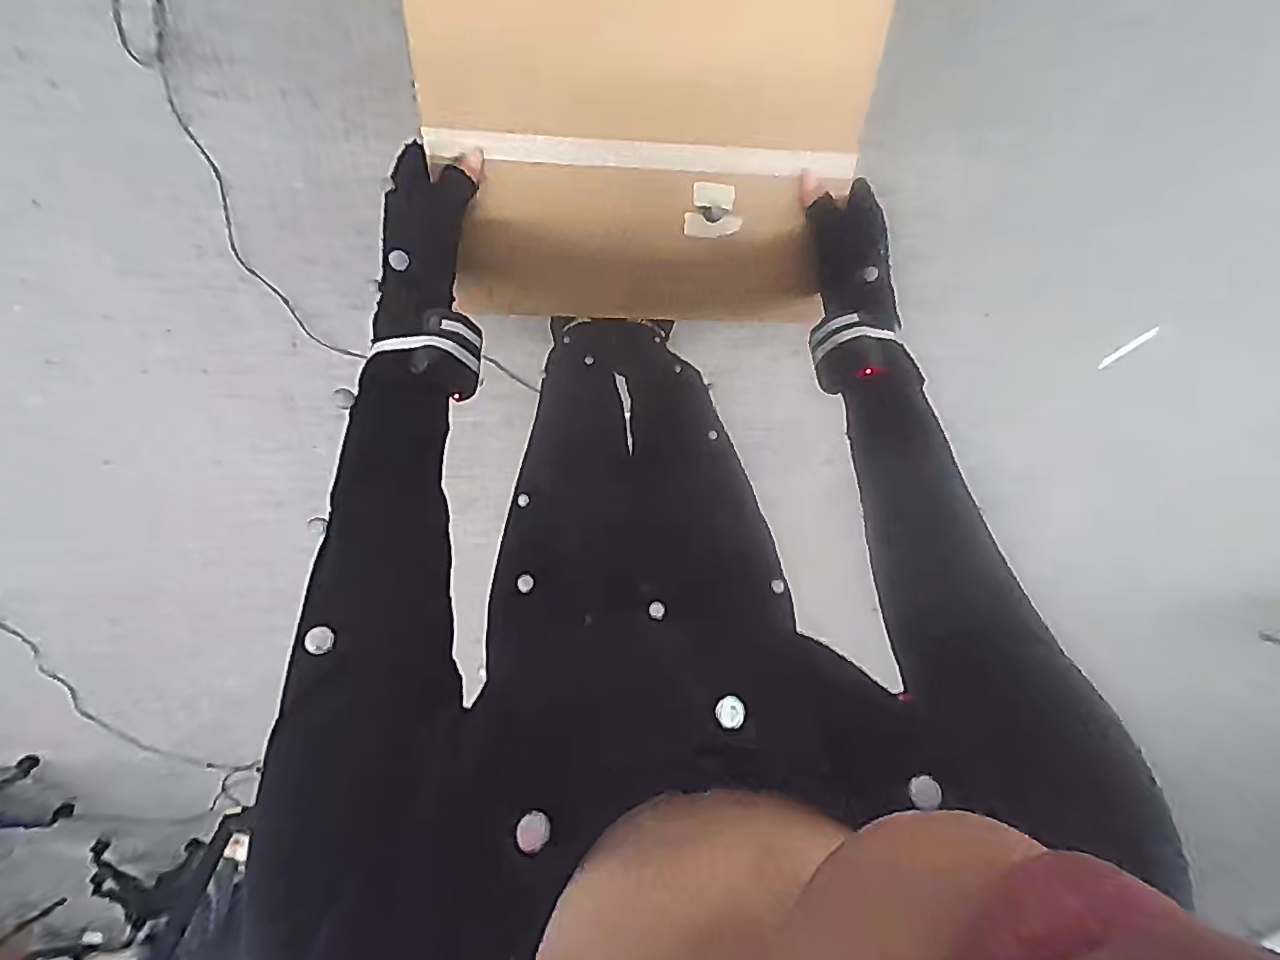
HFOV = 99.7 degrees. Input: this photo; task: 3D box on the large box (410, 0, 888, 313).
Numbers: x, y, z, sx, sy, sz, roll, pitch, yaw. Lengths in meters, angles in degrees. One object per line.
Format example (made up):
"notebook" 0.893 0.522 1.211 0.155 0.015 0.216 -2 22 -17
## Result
"large box" -0.008 -0.394 0.625 0.408 0.320 0.320 -1 126 -7
